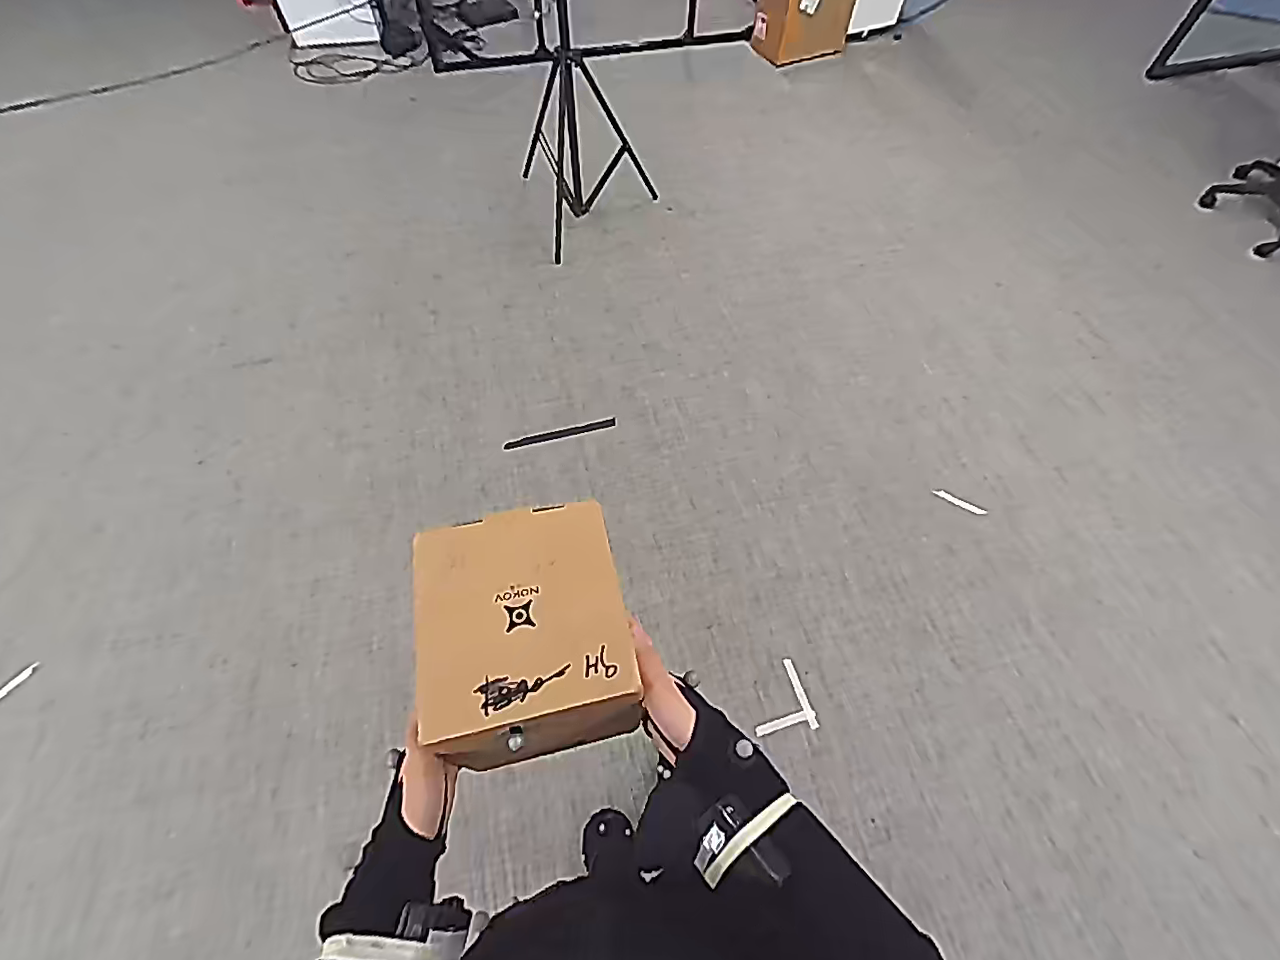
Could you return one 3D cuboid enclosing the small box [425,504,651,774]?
[{"bbox_3d":[-0.092,0.150,0.503,0.168,0.176,0.179,-11,56,-9],"label":"small box"}]
